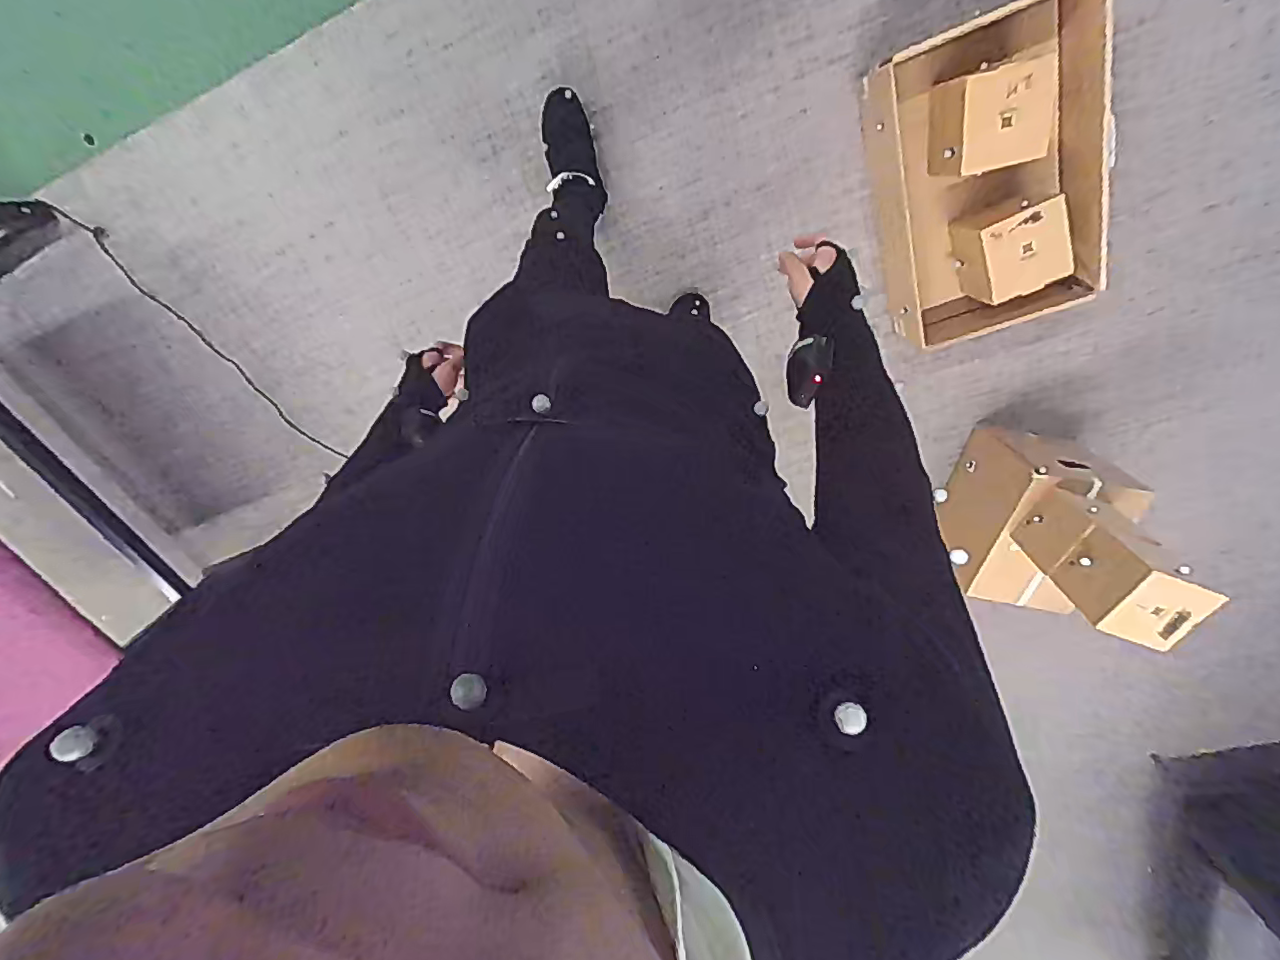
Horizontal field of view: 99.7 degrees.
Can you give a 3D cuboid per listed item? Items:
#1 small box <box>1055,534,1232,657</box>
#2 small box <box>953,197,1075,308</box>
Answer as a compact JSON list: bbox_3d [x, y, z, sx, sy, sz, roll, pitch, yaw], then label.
[{"bbox_3d":[1.054,0.239,1.150,0.179,0.176,0.168,19,118,-5],"label":"small box"},{"bbox_3d":[0.843,-0.521,1.229,0.168,0.176,0.179,-21,115,15],"label":"small box"}]
